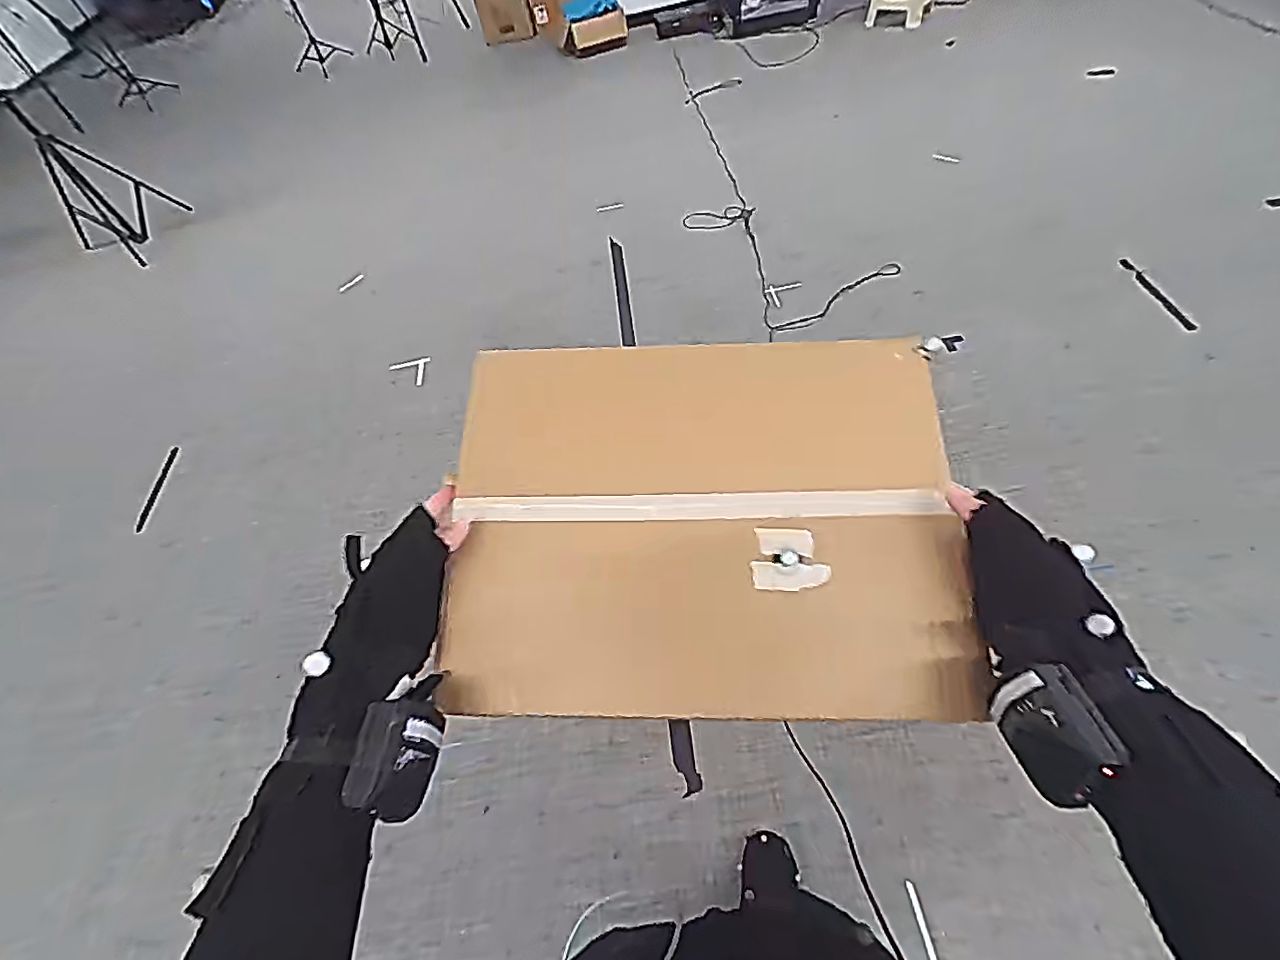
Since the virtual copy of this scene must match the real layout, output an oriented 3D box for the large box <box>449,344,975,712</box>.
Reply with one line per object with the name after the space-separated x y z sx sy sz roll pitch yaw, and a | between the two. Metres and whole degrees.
0.053 0.077 0.595 0.408 0.320 0.320 -2 69 3 | large box
